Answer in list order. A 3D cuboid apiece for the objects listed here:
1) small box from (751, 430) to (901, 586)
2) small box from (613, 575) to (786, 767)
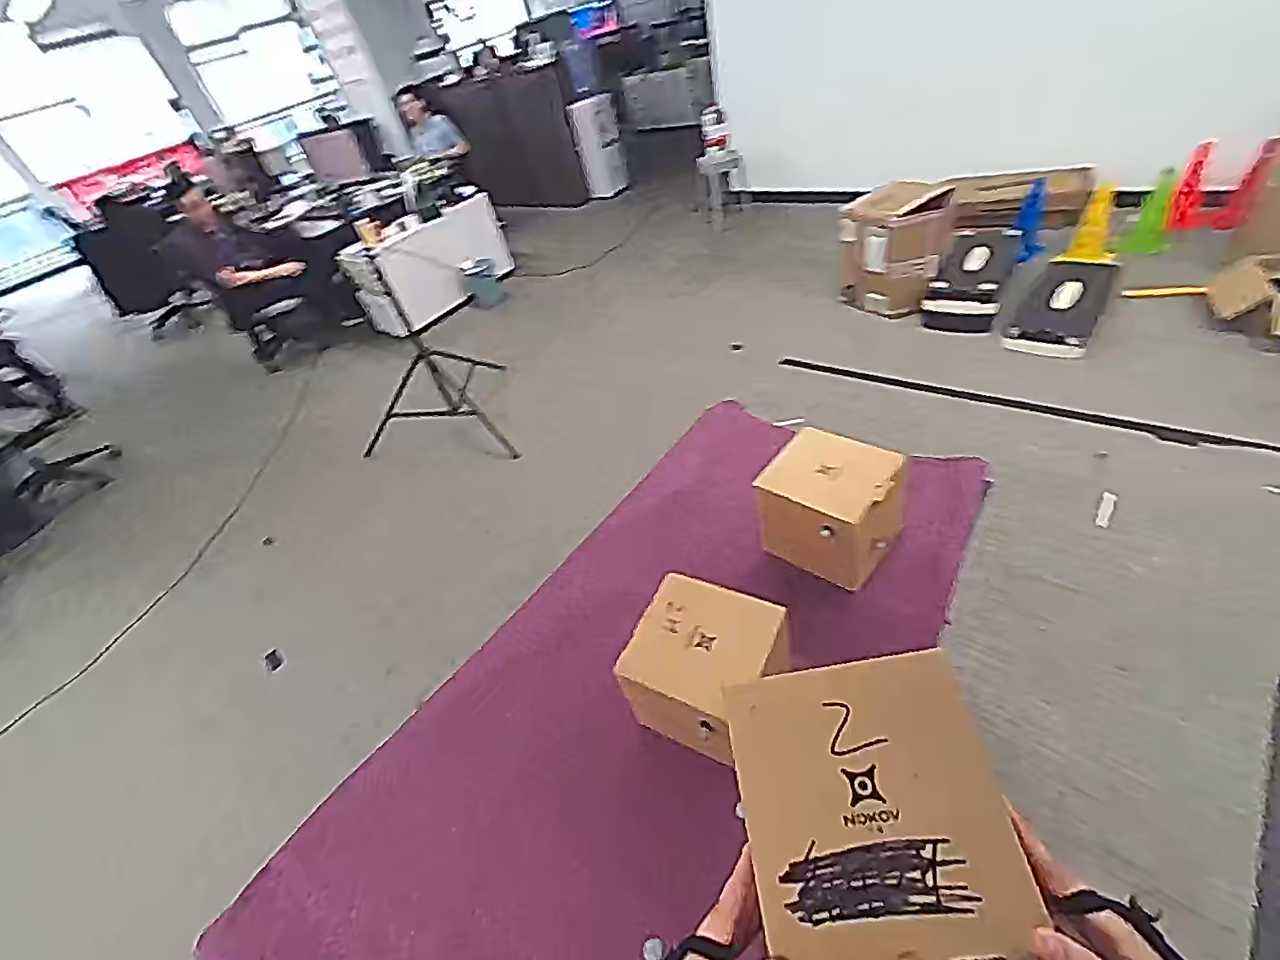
[{"bbox_3d":[0.309,0.047,0.903,0.179,0.176,0.168,24,56,38],"label":"small box"},{"bbox_3d":[0.093,0.264,0.743,0.179,0.176,0.168,12,49,29],"label":"small box"}]
